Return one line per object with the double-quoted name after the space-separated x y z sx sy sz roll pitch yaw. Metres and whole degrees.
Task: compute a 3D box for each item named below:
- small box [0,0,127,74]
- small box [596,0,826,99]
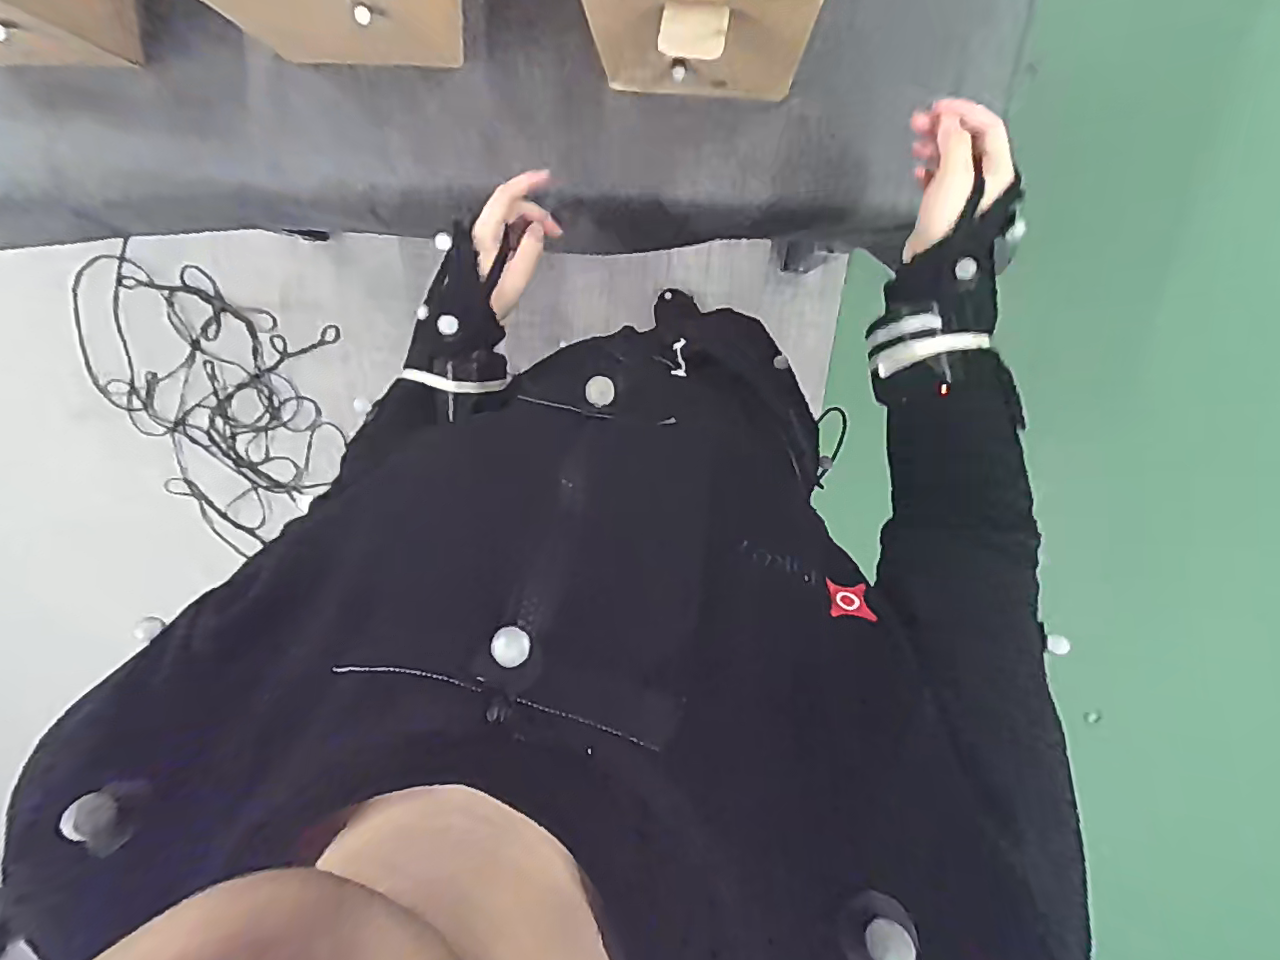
-0.577 -0.465 0.442 0.179 0.176 0.168 3 104 5 "small box"
0.054 -0.422 0.402 0.168 0.176 0.179 6 106 3 "small box"
